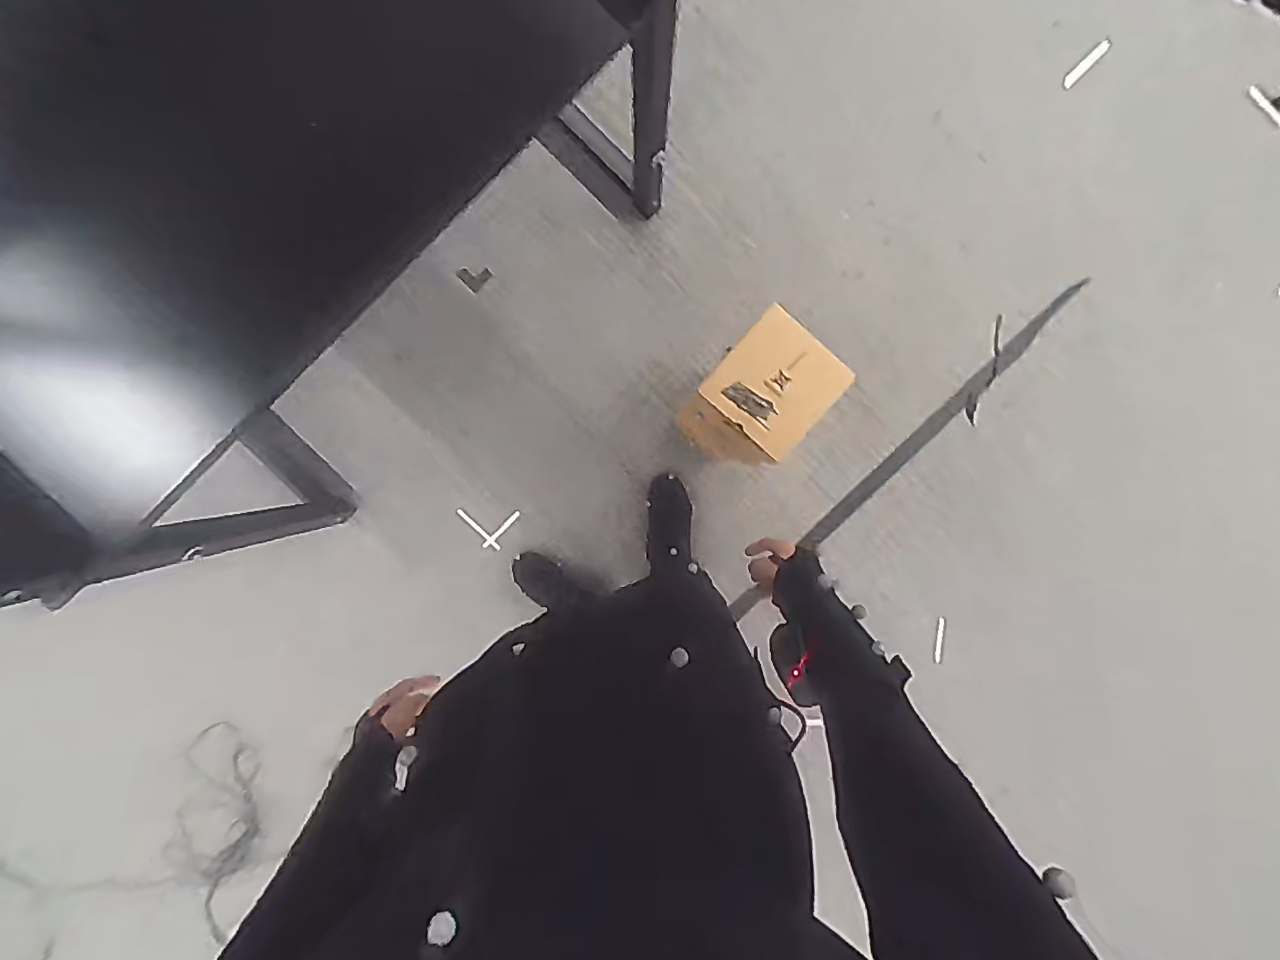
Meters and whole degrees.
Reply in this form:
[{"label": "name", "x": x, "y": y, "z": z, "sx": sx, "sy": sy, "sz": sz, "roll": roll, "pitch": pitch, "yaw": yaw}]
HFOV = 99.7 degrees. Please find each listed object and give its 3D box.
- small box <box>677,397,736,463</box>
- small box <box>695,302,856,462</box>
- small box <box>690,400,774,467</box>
[{"label": "small box", "x": 0.208, "y": -0.162, "z": 1.357, "sx": 0.168, "sy": 0.176, "sz": 0.179, "roll": 43, "pitch": 92, "yaw": -2}, {"label": "small box", "x": 0.202, "y": -0.145, "z": 0.866, "sx": 0.168, "sy": 0.176, "sz": 0.179, "roll": 41, "pitch": 92, "yaw": -2}, {"label": "small box", "x": 0.215, "y": -0.144, "z": 1.031, "sx": 0.179, "sy": 0.176, "sz": 0.168, "roll": 41, "pitch": 92, "yaw": -2}]
